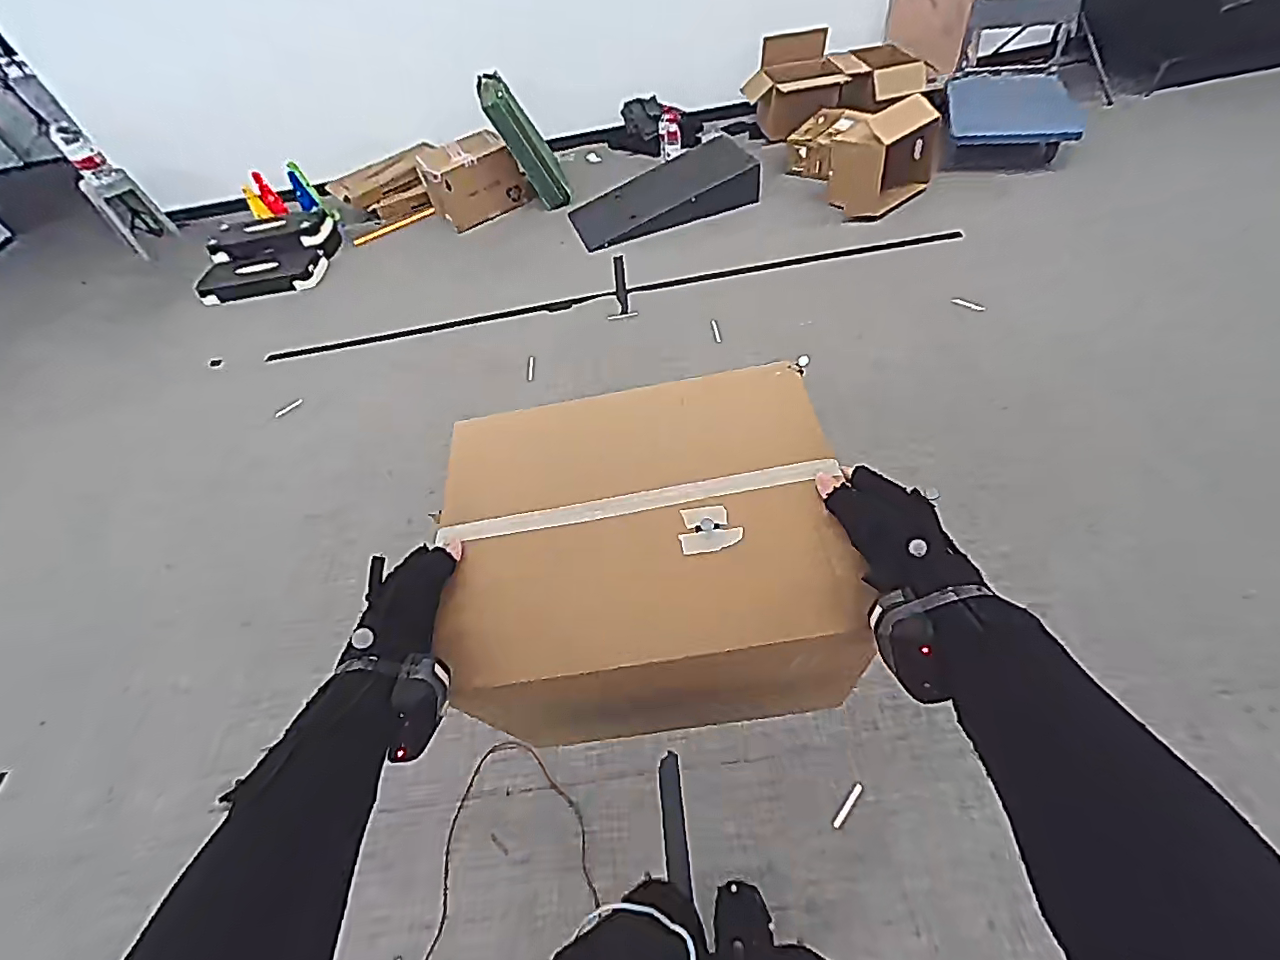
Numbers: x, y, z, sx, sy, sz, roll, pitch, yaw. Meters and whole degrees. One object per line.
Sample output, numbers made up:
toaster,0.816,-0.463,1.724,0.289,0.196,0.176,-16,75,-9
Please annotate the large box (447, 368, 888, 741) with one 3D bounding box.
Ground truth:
large box,0.023,0.109,0.678,0.408,0.320,0.320,-10,55,3
